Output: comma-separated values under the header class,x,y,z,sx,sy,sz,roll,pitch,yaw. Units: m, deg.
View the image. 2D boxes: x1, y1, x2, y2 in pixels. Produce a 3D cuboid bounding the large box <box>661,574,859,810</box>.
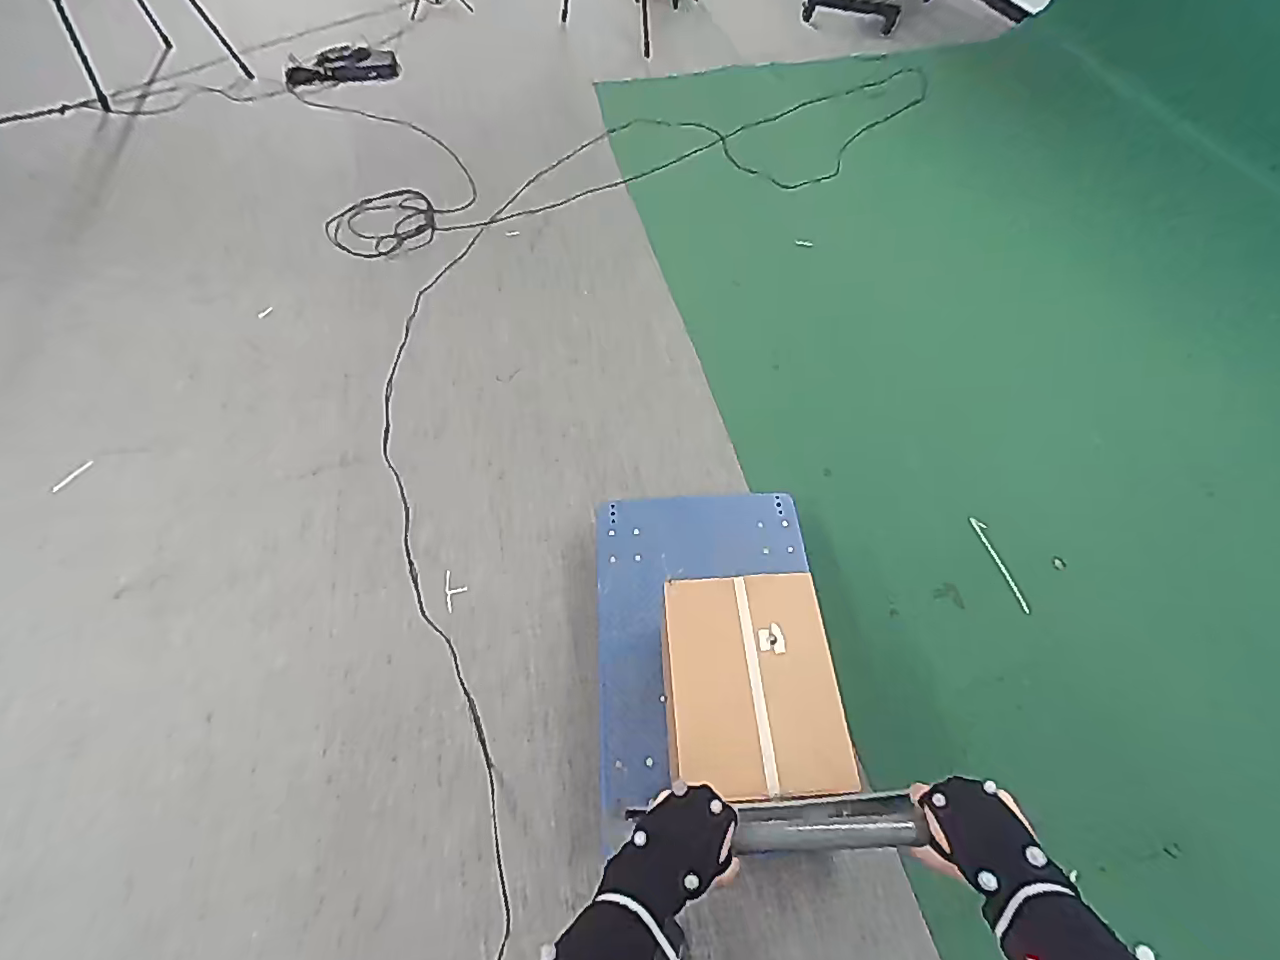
class,x,y,z,sx,sy,sz,roll,pitch,yaw
large box,0.216,0.457,1.157,0.320,0.320,0.408,-3,57,-2
